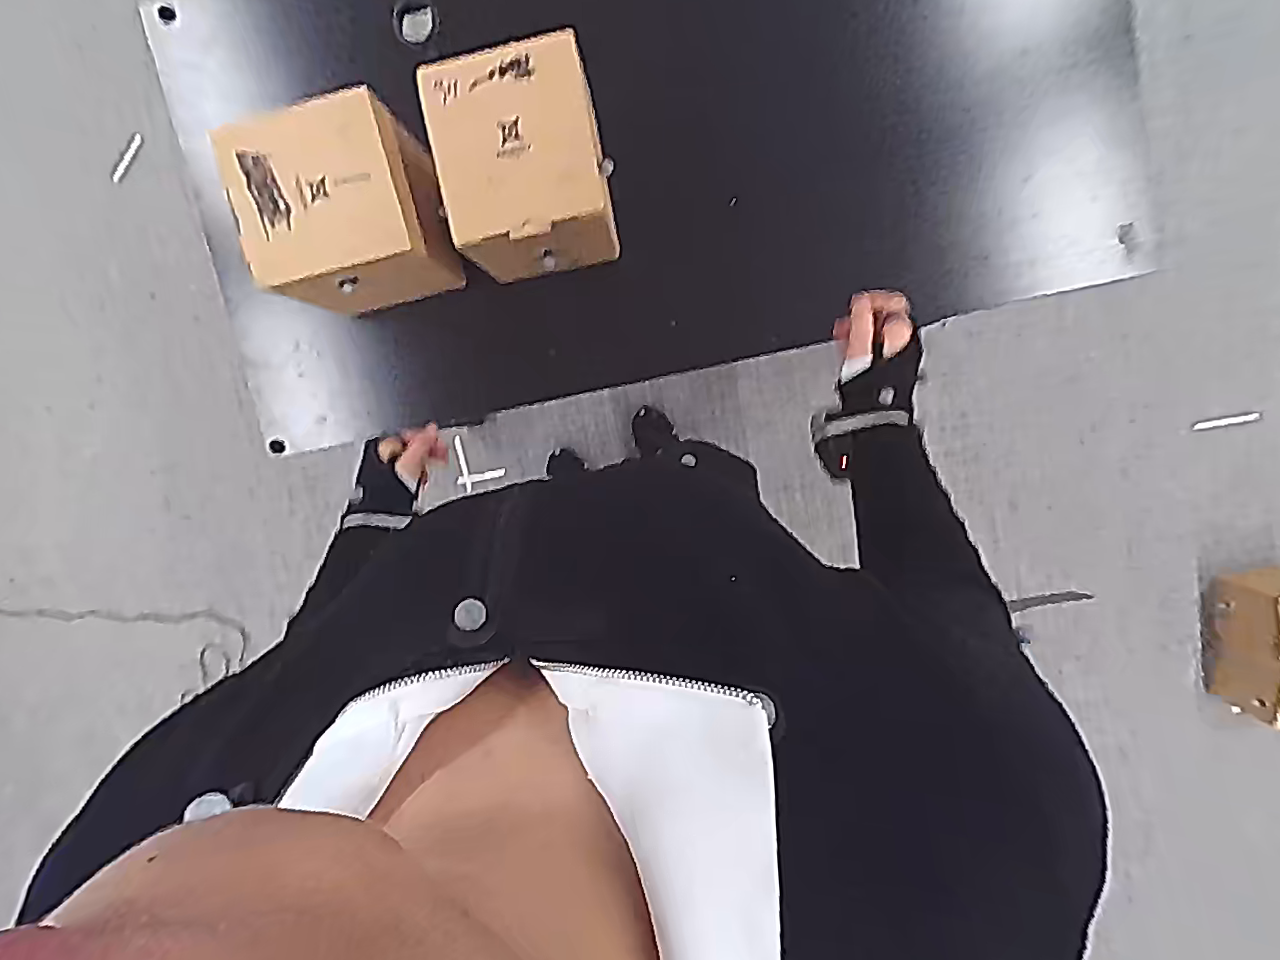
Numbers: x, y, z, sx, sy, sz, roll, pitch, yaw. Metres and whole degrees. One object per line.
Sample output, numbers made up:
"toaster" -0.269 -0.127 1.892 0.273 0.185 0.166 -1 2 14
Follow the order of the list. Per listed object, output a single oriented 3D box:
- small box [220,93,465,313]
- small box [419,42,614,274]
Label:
"small box" -0.339 -0.313 0.652 0.179 0.176 0.168 -13 96 3
"small box" -0.129 -0.355 0.637 0.168 0.176 0.179 -10 97 3
